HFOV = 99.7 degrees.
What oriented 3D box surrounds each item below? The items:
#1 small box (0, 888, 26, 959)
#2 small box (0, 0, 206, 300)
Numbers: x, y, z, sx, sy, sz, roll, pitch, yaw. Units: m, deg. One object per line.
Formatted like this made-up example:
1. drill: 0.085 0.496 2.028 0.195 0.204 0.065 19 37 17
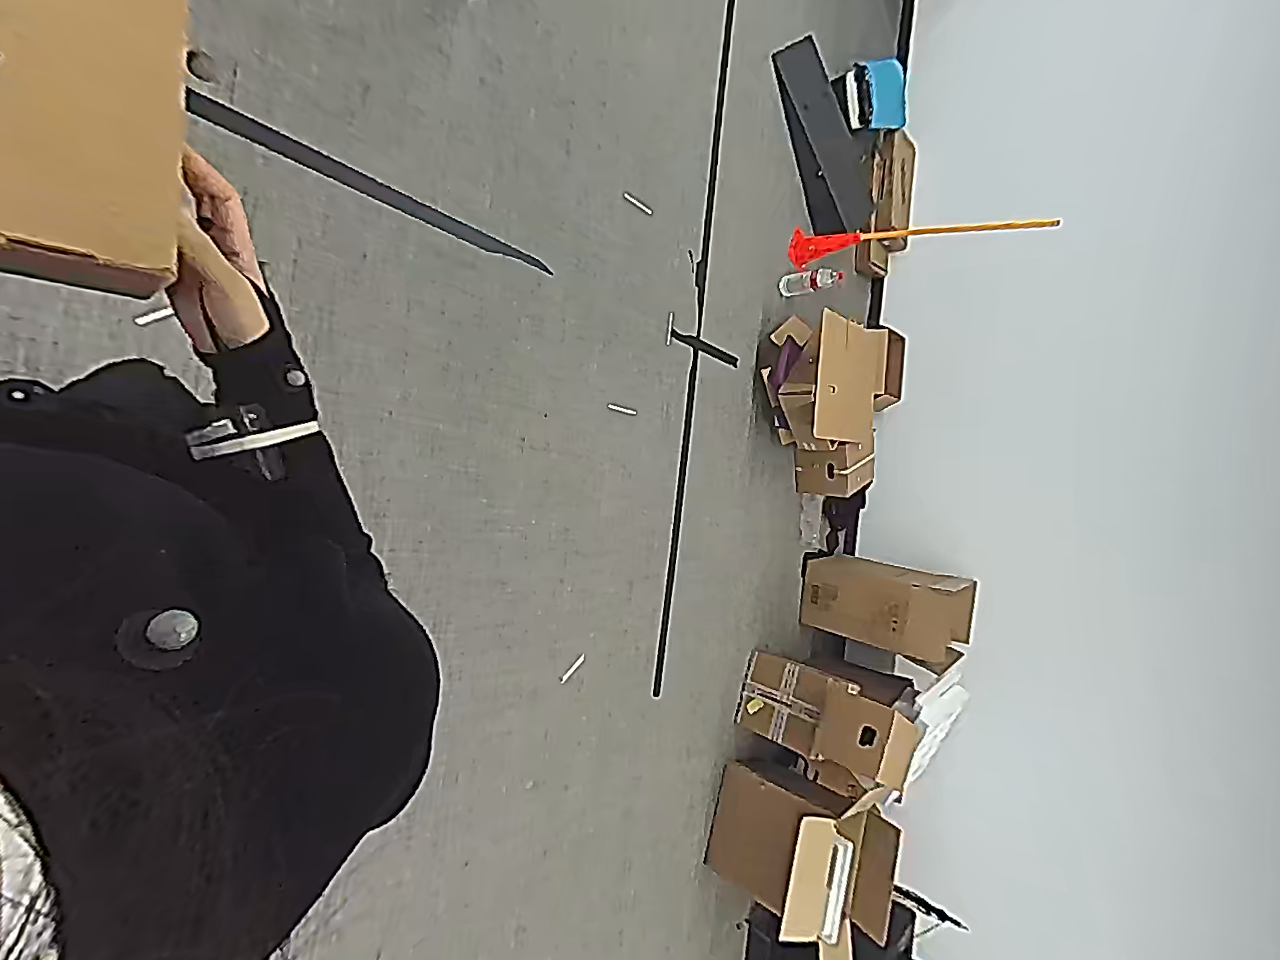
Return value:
1. small box: -1.209 0.857 0.929 0.179 0.176 0.168 15 83 -47
2. small box: -0.355 -0.209 0.290 0.168 0.176 0.179 2 98 -46
